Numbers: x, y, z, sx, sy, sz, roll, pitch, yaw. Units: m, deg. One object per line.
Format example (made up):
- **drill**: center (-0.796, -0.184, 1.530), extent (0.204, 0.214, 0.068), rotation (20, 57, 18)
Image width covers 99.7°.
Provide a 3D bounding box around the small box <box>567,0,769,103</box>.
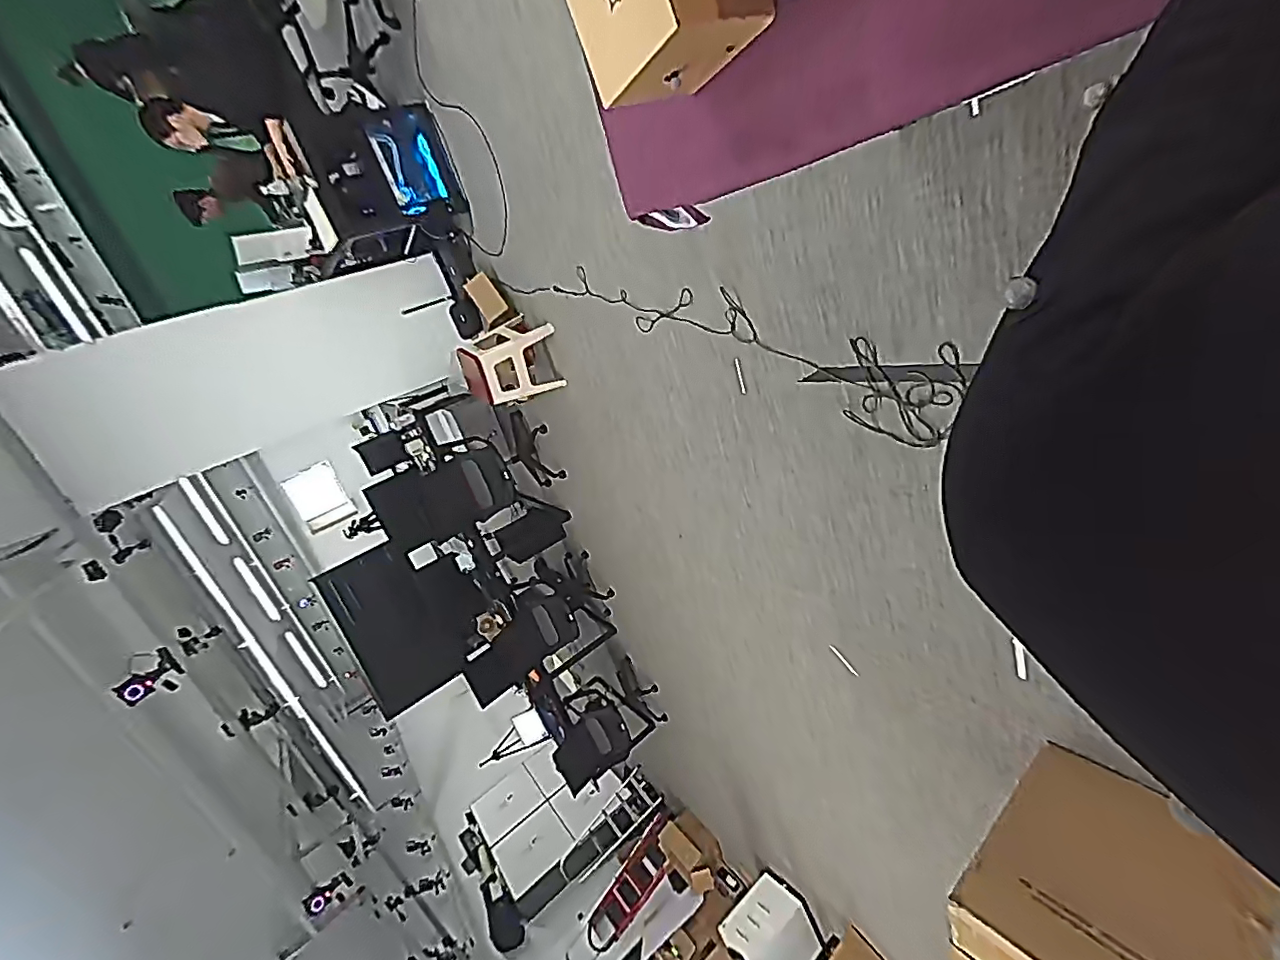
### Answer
- **small box**: center (0.028, -0.601, 0.652), extent (0.168, 0.176, 0.179), rotation (4, 120, 58)
